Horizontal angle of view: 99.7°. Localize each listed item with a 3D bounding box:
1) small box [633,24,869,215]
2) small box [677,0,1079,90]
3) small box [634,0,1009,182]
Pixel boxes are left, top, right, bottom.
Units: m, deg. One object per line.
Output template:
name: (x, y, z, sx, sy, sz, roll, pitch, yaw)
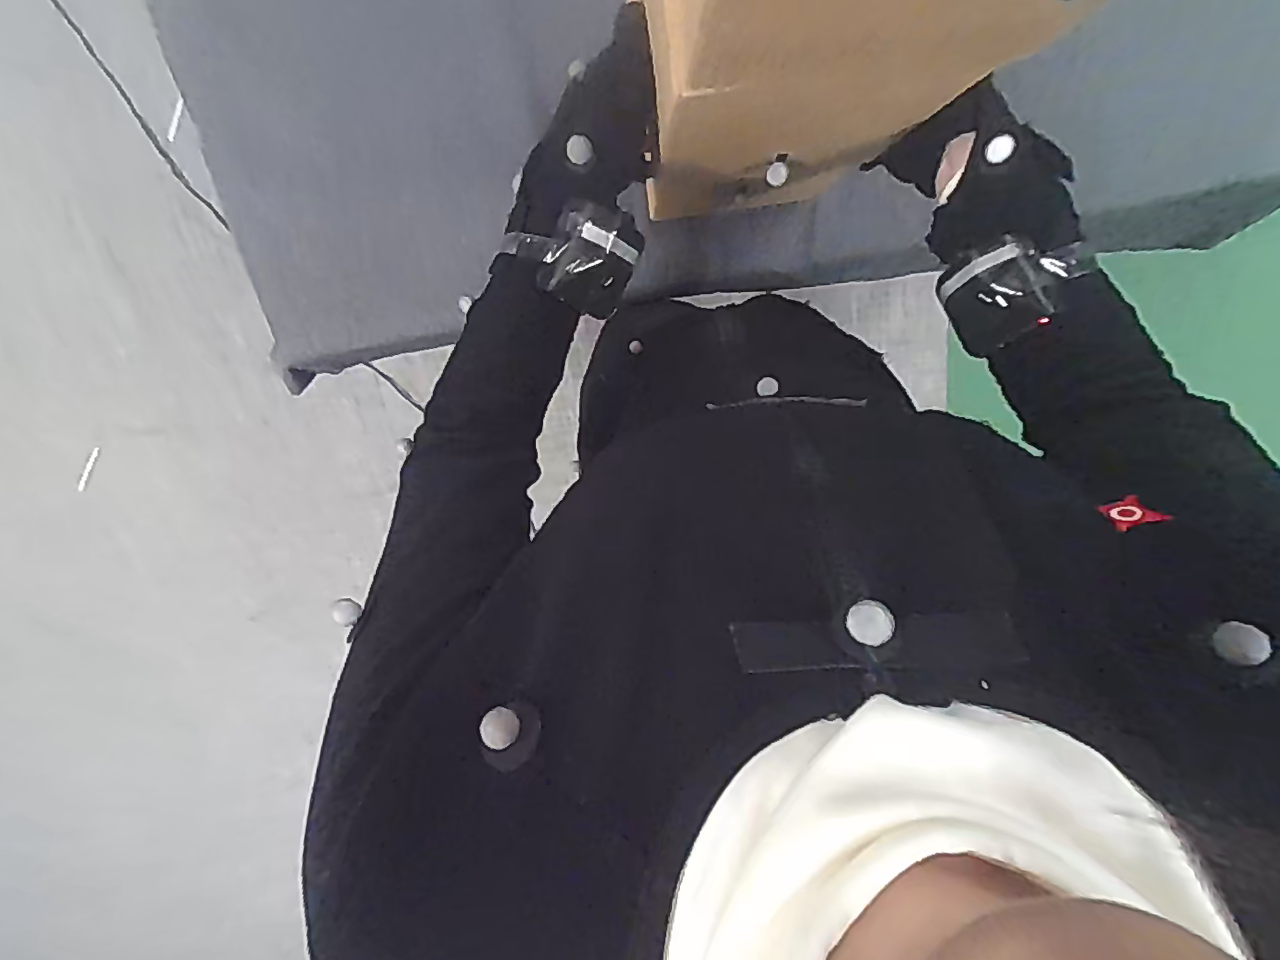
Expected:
small box: (0.090, -0.354, 0.490, 0.179, 0.176, 0.168, -7, 104, 1)
small box: (0.102, -0.264, 0.177, 0.179, 0.176, 0.168, -6, 103, 1)
small box: (0.091, -0.304, 0.334, 0.179, 0.176, 0.168, -7, 103, -1)
